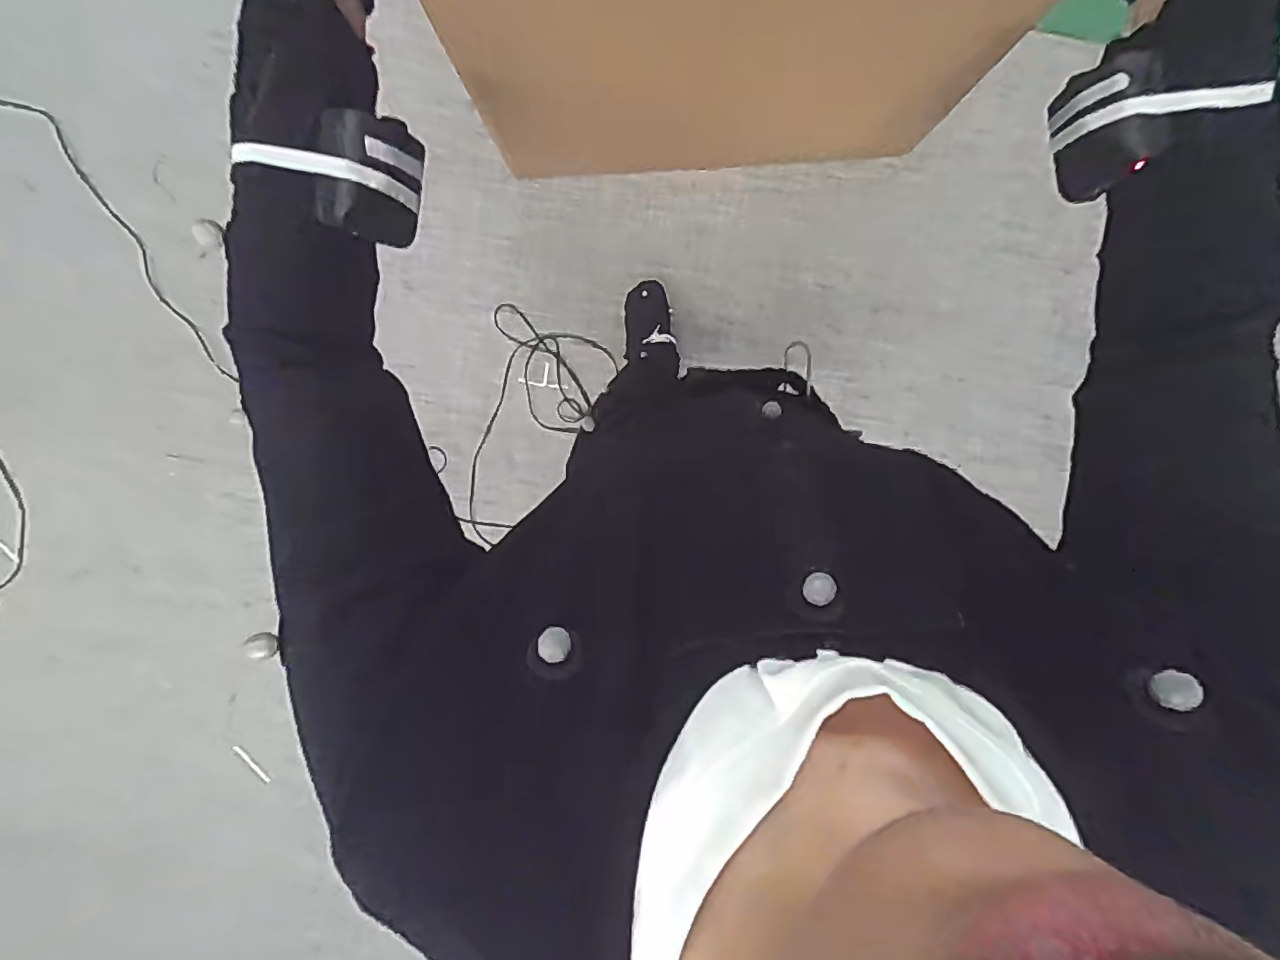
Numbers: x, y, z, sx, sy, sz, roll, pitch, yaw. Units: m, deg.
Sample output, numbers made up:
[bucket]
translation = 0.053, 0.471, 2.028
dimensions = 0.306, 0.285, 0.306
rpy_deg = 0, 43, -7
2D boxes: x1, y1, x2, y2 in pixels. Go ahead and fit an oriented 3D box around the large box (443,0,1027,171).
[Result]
[large box]
translation = 0.059, -0.464, 0.390
dimensions = 0.408, 0.320, 0.320
rpy_deg = -4, 97, 0
